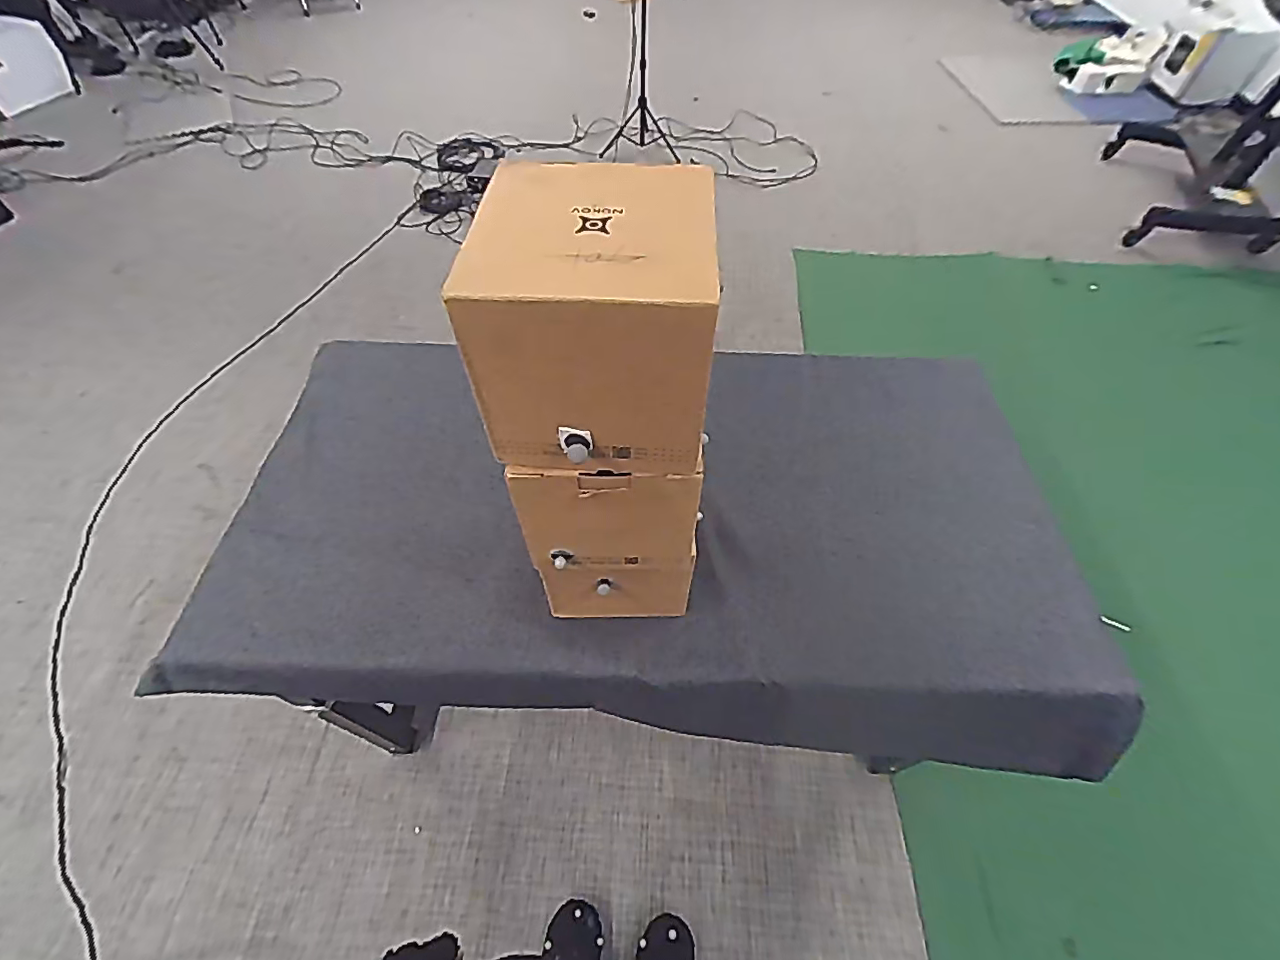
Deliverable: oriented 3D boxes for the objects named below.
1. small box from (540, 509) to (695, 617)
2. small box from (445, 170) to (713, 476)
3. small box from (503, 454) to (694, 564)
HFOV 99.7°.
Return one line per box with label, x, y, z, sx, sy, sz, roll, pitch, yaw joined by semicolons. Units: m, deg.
small box;-0.029;0.068;0.704;0.179;0.176;0.168;-3;52;-3
small box;-0.034;-0.123;0.437;0.168;0.176;0.179;1;54;2
small box;-0.033;-0.023;0.564;0.168;0.176;0.179;0;52;0
